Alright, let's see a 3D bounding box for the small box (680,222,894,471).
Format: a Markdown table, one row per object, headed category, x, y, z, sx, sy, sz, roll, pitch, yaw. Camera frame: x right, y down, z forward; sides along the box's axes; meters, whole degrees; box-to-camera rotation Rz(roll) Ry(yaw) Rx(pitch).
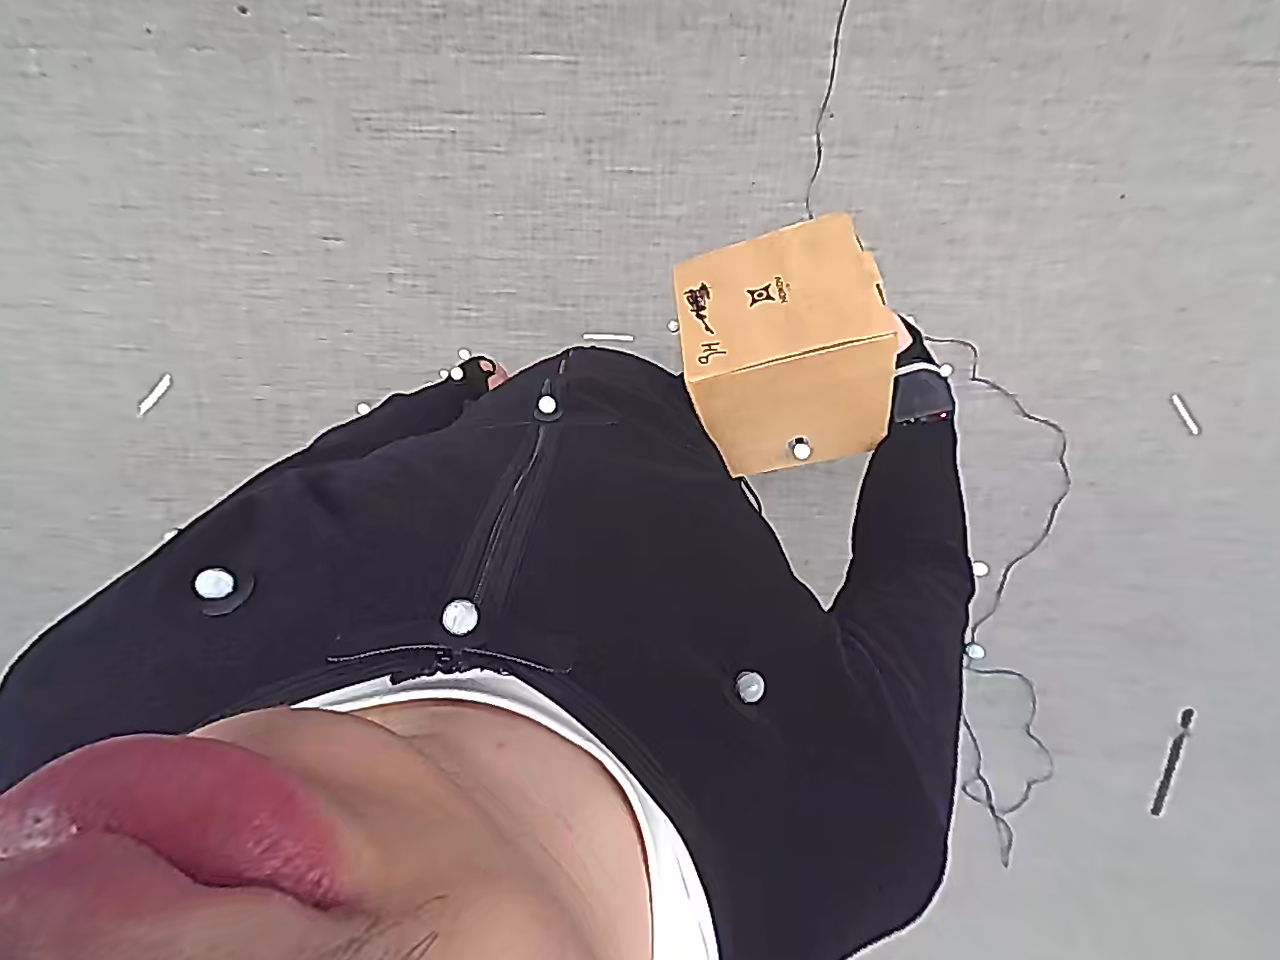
| category | x | y | z | sx | sy | sz | roll | pitch | yaw |
| --- | --- | --- | --- | --- | --- | --- | --- | --- | --- |
| small box | 0.150 | -0.130 | 0.575 | 0.179 | 0.168 | 0.176 | -12 | 146 | 14 |
